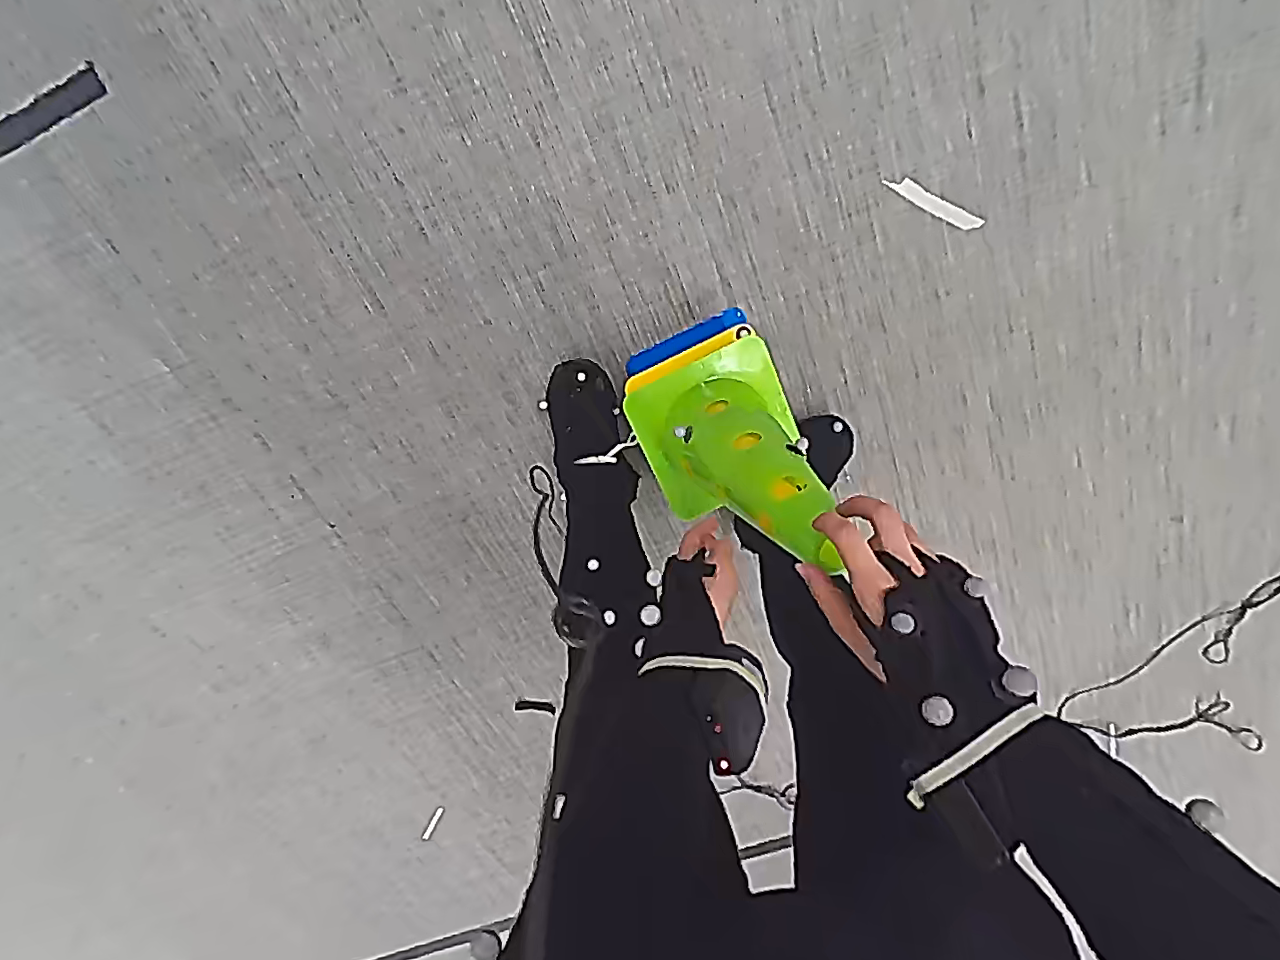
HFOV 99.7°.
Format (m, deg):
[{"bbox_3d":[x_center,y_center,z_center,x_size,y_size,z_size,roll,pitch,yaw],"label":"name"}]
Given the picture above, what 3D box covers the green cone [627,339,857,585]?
[{"bbox_3d":[0.123,-0.005,0.549,0.202,0.368,0.200,-26,109,4],"label":"green cone"}]
